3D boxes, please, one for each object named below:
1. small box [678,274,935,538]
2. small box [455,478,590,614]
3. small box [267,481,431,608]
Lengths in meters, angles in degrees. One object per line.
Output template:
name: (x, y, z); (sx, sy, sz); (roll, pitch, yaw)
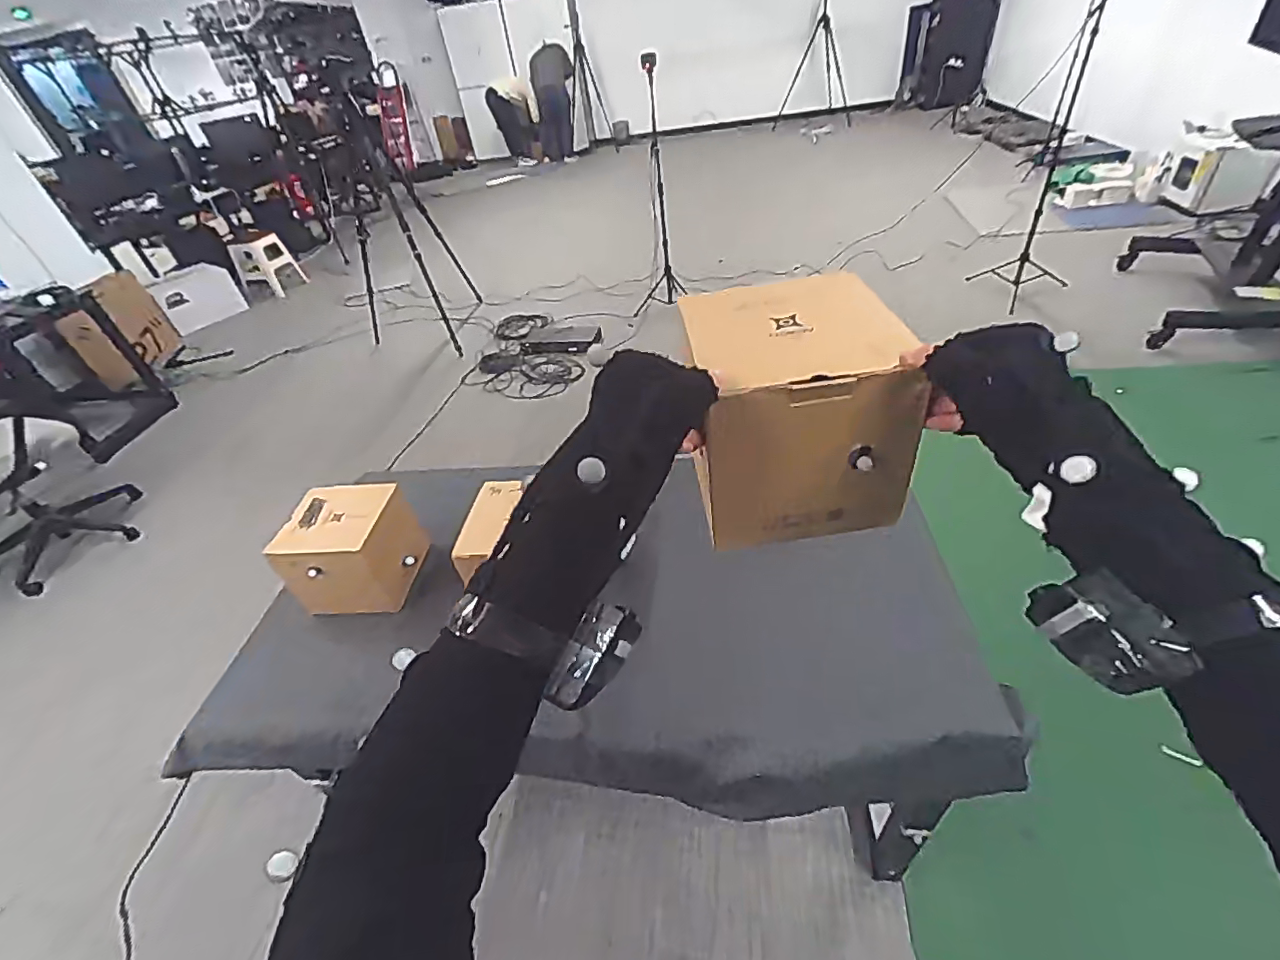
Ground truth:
small box: (0.131, -0.062, 0.489); (0.168, 0.176, 0.179); (-8, 40, 2)
small box: (-0.189, 0.117, 0.937); (0.168, 0.176, 0.179); (-1, 41, 9)
small box: (-0.517, 0.120, 0.990); (0.179, 0.176, 0.168); (-2, 41, 6)
